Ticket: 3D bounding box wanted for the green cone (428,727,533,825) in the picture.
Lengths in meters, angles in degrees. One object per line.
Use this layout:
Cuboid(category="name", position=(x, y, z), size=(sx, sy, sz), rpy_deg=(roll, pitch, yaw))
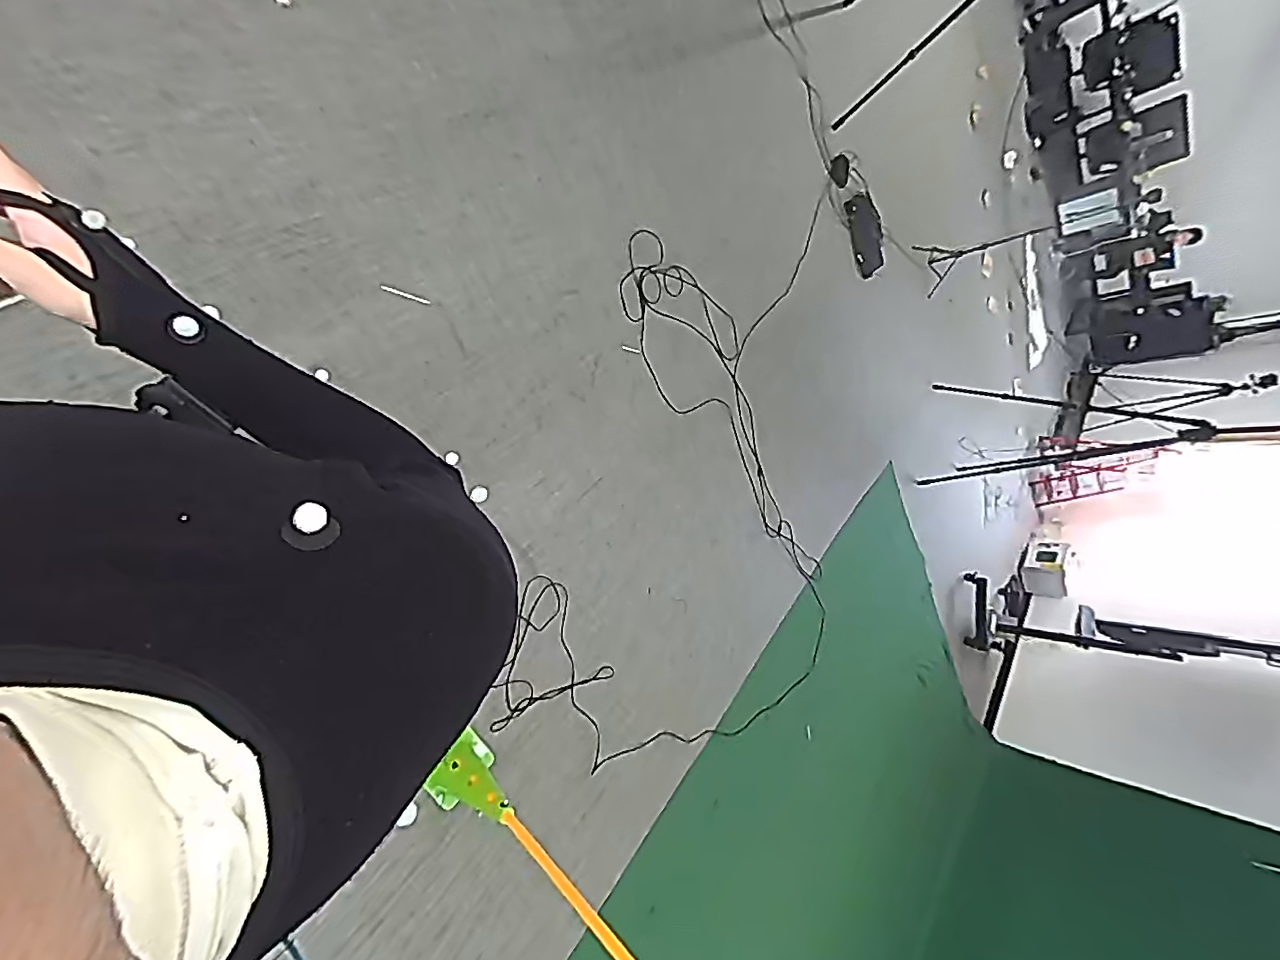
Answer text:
Cuboid(category="green cone", position=(-0.422, 0.906, 1.566), size=(0.202, 0.368, 0.200), rpy_deg=(-44, 117, -34))
